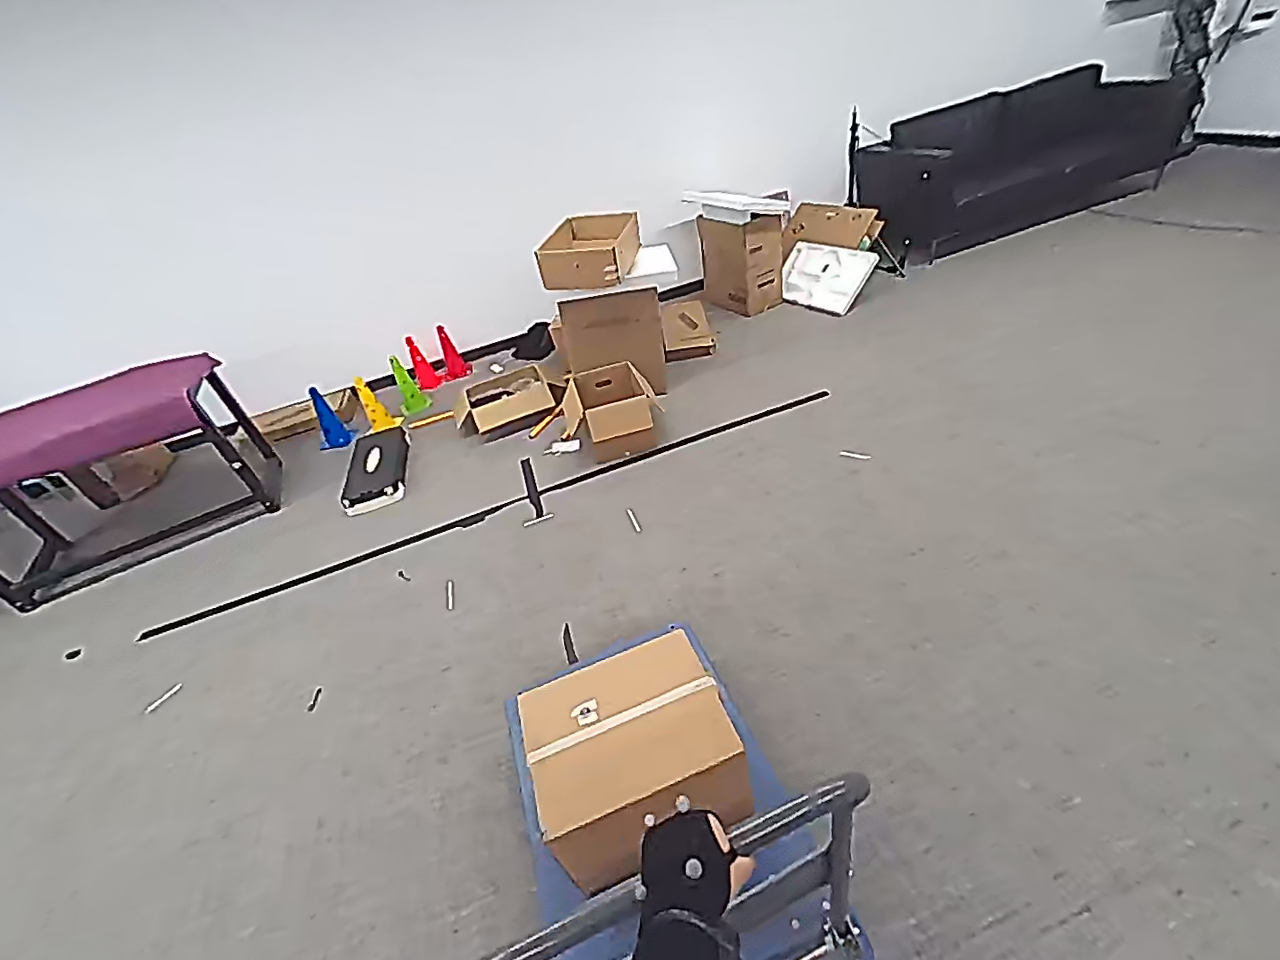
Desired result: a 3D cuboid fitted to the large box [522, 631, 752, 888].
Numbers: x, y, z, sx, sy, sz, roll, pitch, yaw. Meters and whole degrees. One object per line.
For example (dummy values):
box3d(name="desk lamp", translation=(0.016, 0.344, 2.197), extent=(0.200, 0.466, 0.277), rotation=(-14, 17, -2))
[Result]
box3d(name="large box", translation=(-0.004, 0.618, 1.215), extent=(0.408, 0.320, 0.320), rotation=(-21, 37, -8))
